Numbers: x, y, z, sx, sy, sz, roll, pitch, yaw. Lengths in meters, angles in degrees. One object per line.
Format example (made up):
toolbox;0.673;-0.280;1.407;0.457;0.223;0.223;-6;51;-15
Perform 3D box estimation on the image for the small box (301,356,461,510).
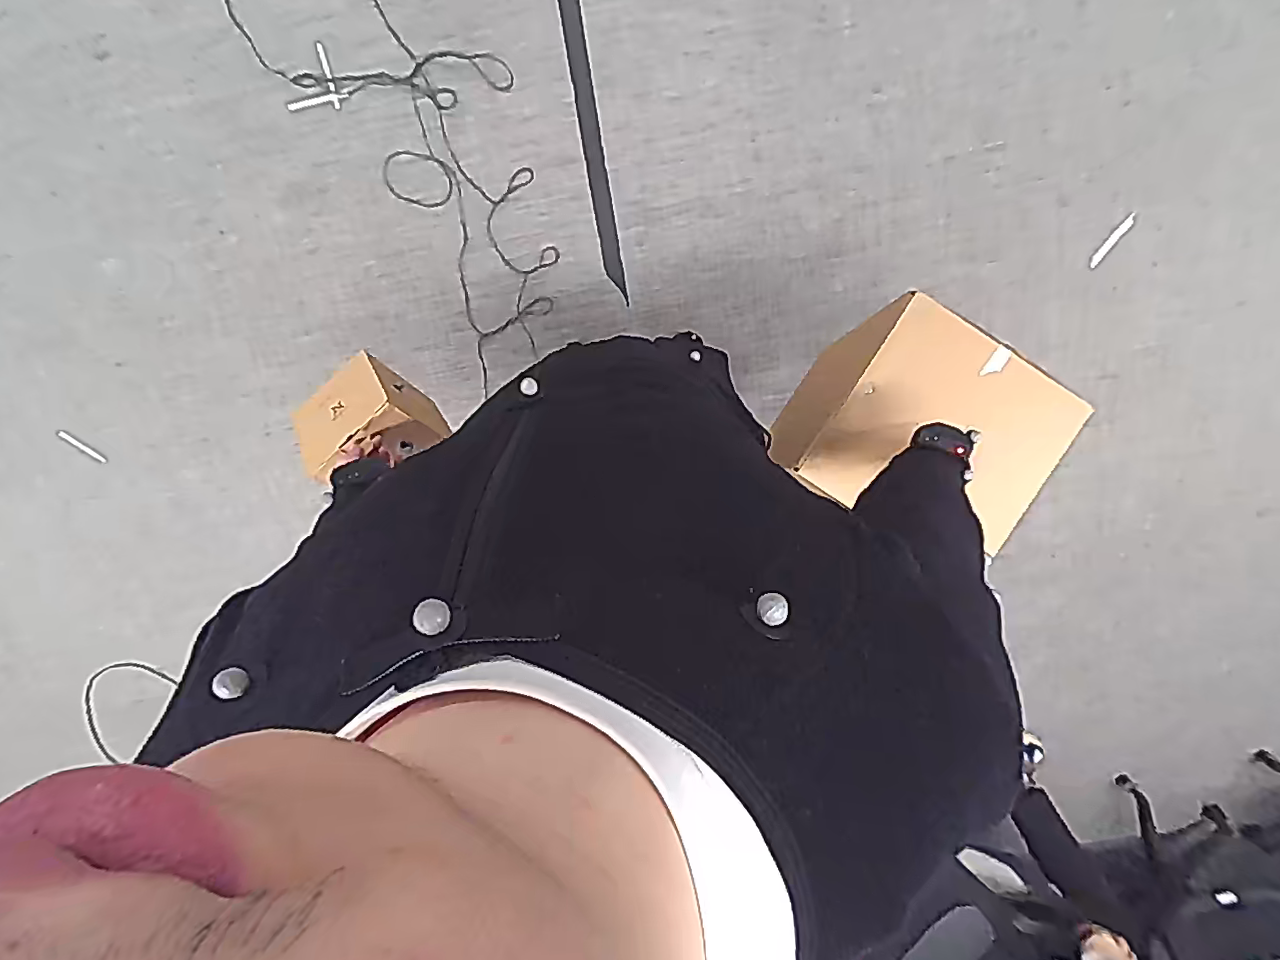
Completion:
small box;-0.437;-0.071;0.925;0.168;0.179;0.176;-42;141;1
